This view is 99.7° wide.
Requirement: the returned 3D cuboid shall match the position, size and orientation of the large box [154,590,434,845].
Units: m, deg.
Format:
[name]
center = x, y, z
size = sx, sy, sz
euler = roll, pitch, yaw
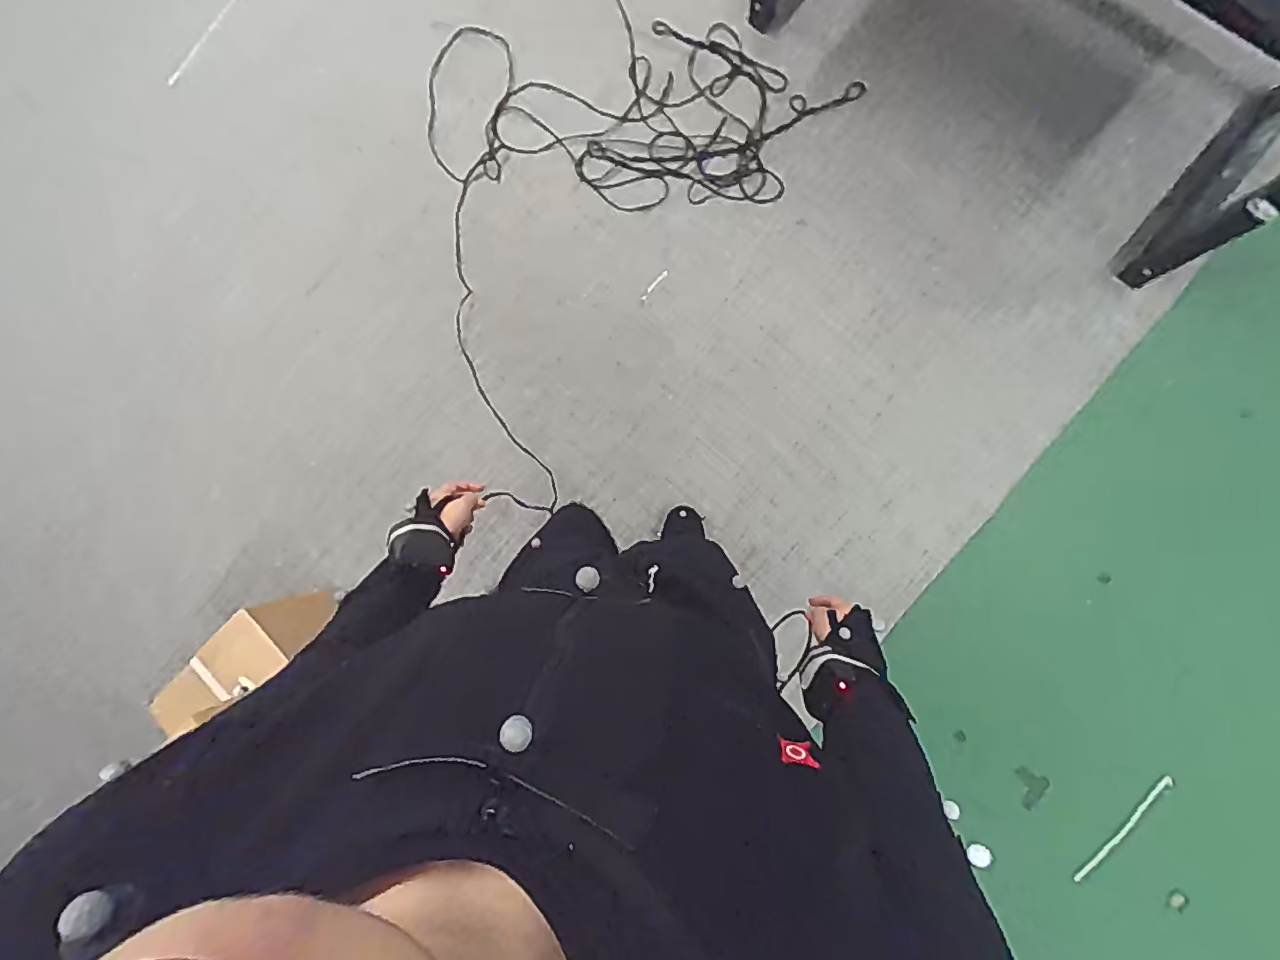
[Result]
[large box]
center = -0.789, 0.527, 1.285
size = 0.408, 0.320, 0.320
euler = 44, 92, 7
